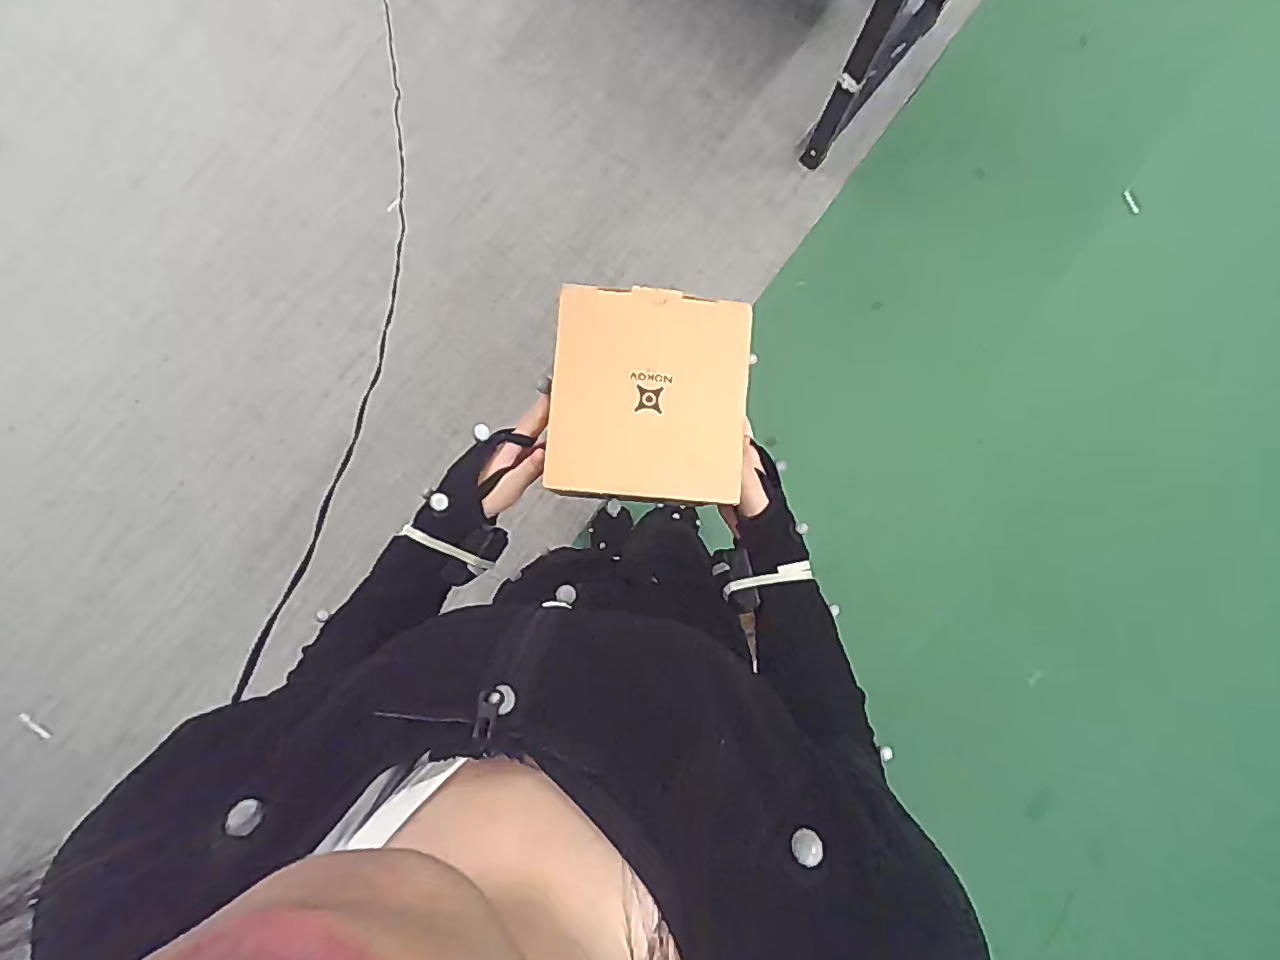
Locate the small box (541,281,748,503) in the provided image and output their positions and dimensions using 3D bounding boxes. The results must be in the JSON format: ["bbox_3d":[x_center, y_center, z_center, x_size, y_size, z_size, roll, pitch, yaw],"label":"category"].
[{"bbox_3d":[0.001,-0.070,0.535,0.168,0.176,0.179,4,85,-4],"label":"small box"}]

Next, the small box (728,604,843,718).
[{"bbox_3d":[0.332,0.412,1.266,0.179,0.176,0.168,35,88,0],"label":"small box"}]
